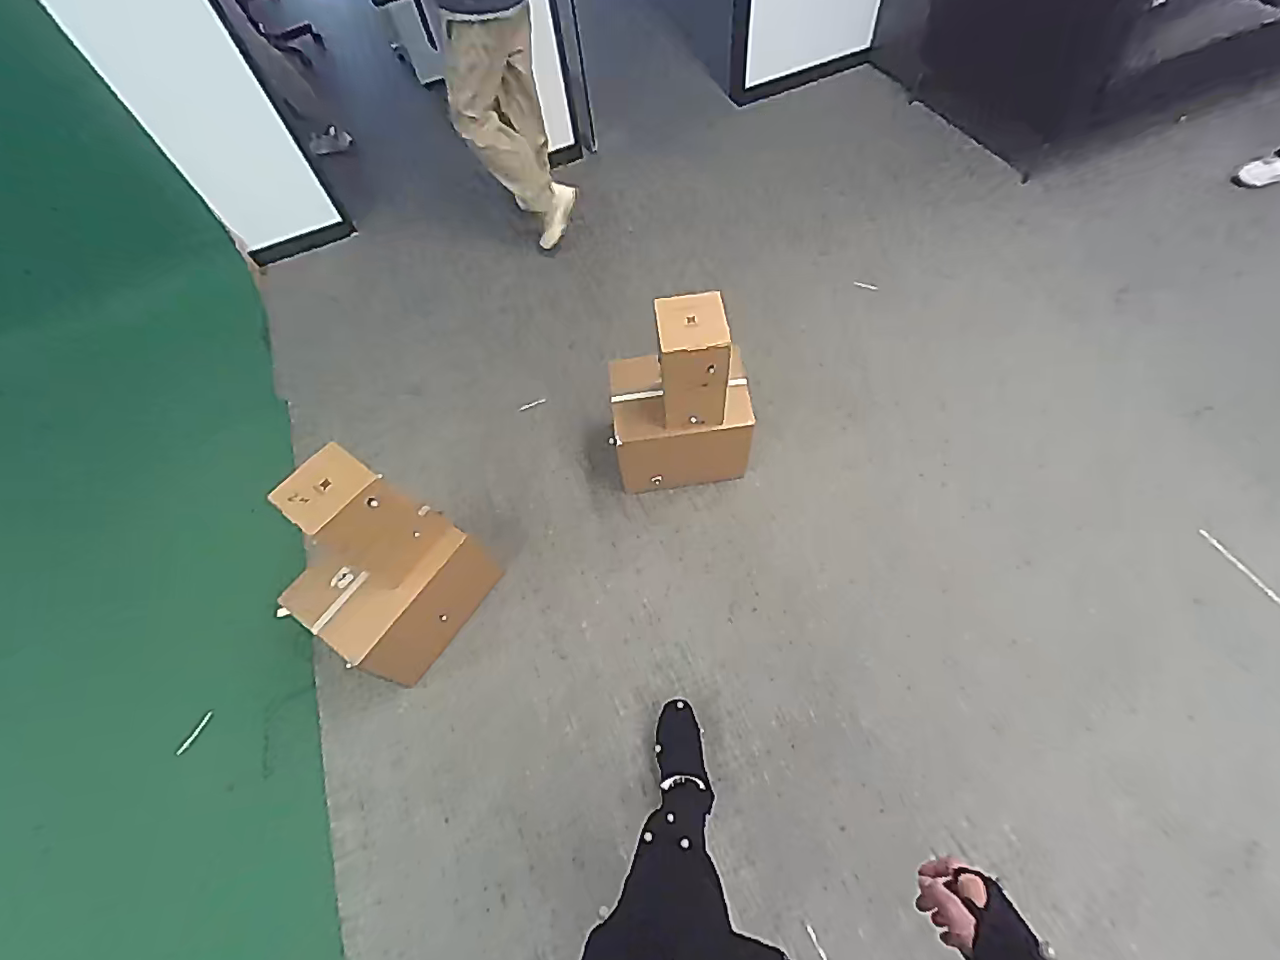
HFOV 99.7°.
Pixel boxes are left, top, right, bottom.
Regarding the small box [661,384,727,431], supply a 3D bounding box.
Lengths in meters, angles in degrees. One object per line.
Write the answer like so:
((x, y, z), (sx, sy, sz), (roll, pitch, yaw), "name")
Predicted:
((0.143, -0.256, 1.500), (0.168, 0.176, 0.179), (-5, 61, 3), "small box")

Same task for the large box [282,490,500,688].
((-0.672, 0.310, 1.533), (0.320, 0.320, 0.408), (27, 67, 21), "large box")

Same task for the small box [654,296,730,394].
((0.129, -0.330, 1.355), (0.168, 0.176, 0.179), (-6, 60, 1), "small box")

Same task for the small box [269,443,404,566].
((-0.656, 0.058, 1.201), (0.168, 0.176, 0.179), (32, 68, 22), "small box")
